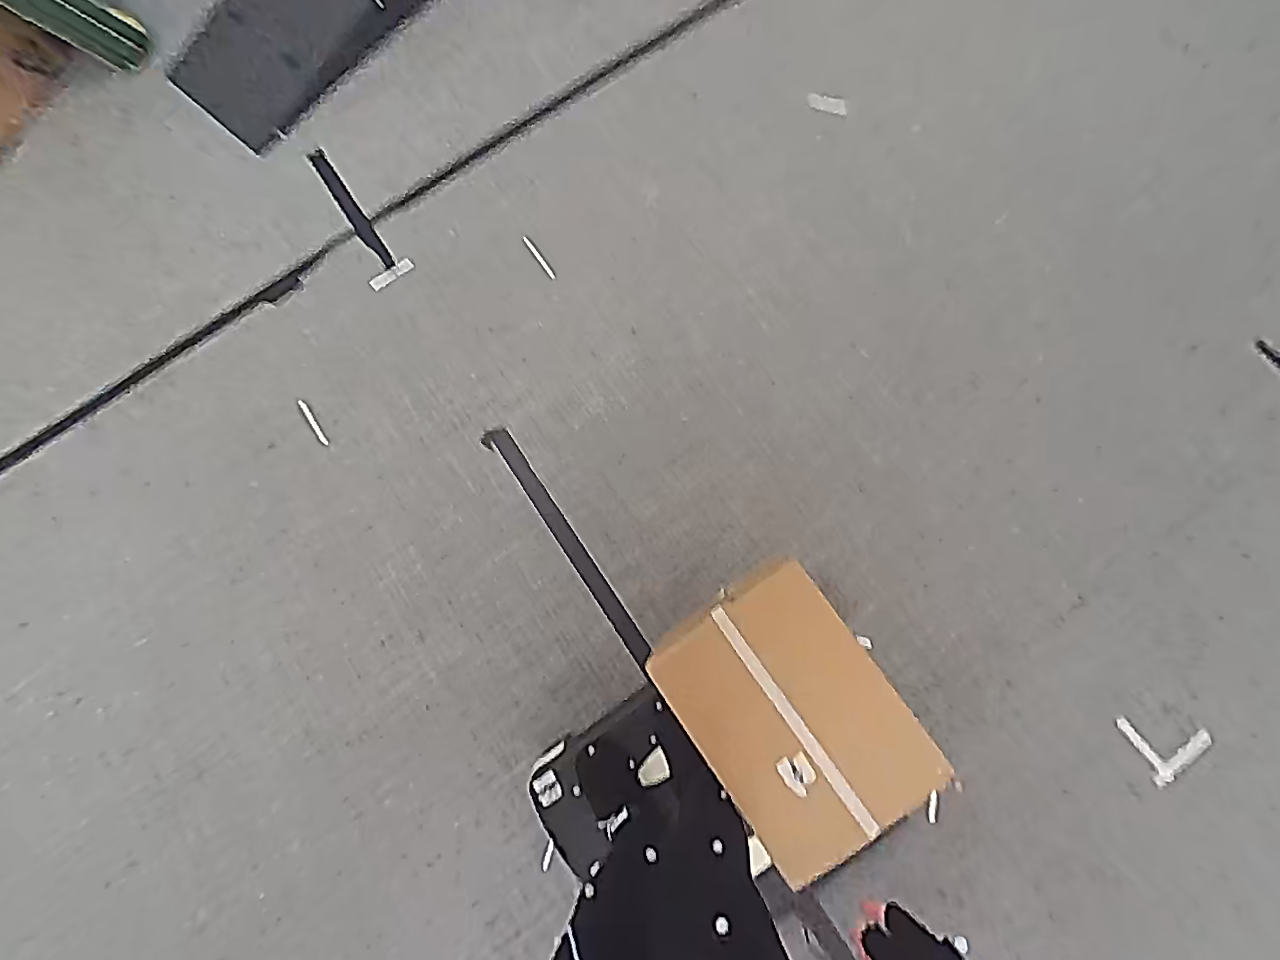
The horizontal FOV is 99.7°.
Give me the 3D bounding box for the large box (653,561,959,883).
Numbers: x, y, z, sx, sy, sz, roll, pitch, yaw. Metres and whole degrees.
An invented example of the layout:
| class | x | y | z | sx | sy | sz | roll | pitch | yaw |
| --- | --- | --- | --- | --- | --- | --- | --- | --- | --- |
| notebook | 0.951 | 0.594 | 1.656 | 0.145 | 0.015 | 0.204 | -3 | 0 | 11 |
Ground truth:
| class | x | y | z | sx | sy | sz | roll | pitch | yaw |
| --- | --- | --- | --- | --- | --- | --- | --- | --- | --- |
| large box | 0.274 | 0.403 | 1.017 | 0.320 | 0.320 | 0.408 | -36 | 80 | 3 |
